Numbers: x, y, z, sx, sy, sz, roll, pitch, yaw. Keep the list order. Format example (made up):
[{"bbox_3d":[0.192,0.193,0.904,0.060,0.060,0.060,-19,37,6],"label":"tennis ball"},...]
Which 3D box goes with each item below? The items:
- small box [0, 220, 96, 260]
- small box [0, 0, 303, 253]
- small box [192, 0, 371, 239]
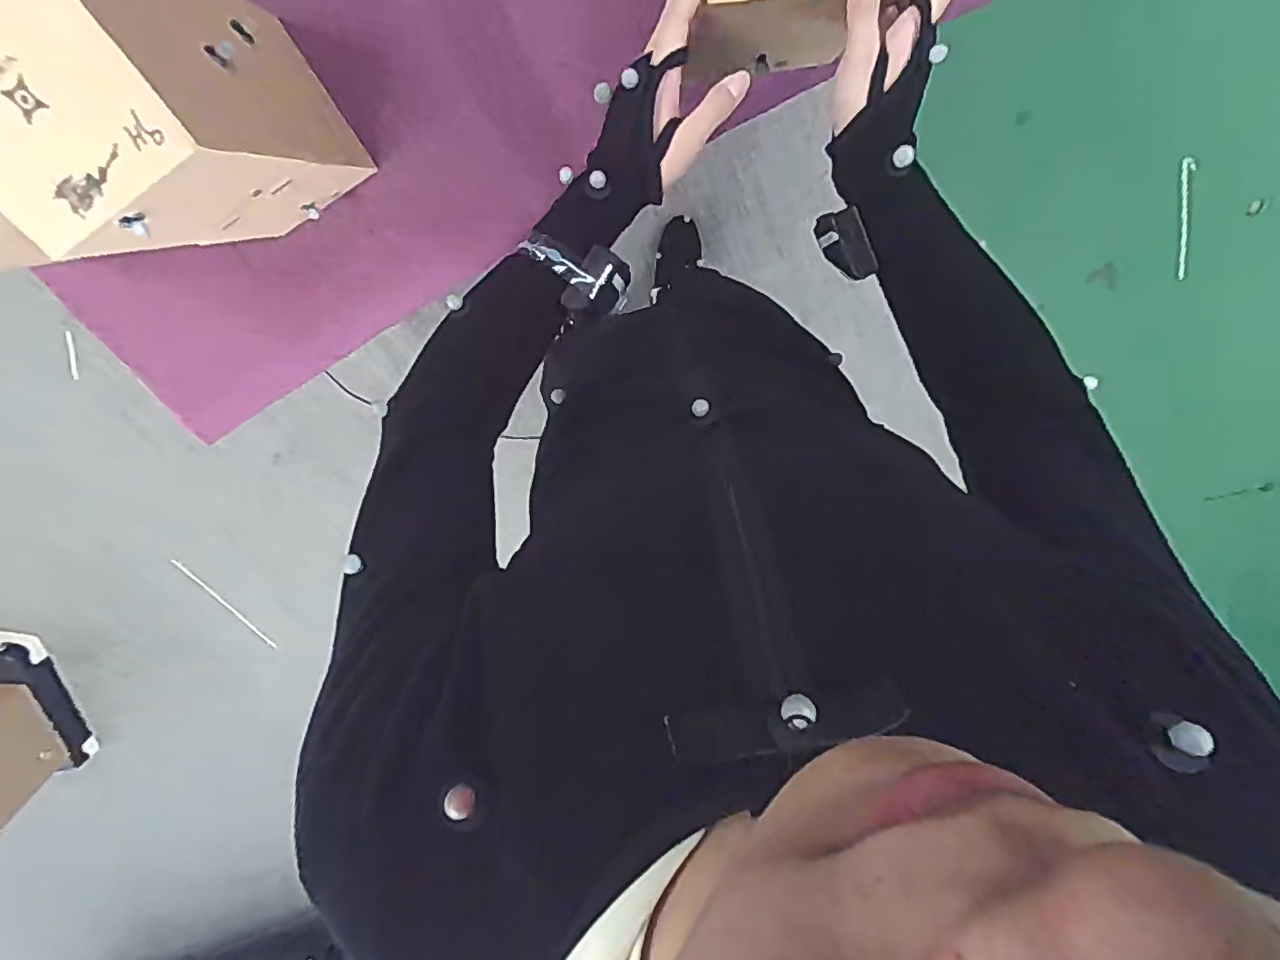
[{"bbox_3d":[-0.722,-0.361,0.600,0.168,0.176,0.179,-27,117,12],"label":"small box"},{"bbox_3d":[-0.438,-0.315,0.449,0.168,0.176,0.179,-26,116,12],"label":"small box"},{"bbox_3d":[-0.443,-0.392,0.595,0.168,0.176,0.179,-26,117,11],"label":"small box"}]
